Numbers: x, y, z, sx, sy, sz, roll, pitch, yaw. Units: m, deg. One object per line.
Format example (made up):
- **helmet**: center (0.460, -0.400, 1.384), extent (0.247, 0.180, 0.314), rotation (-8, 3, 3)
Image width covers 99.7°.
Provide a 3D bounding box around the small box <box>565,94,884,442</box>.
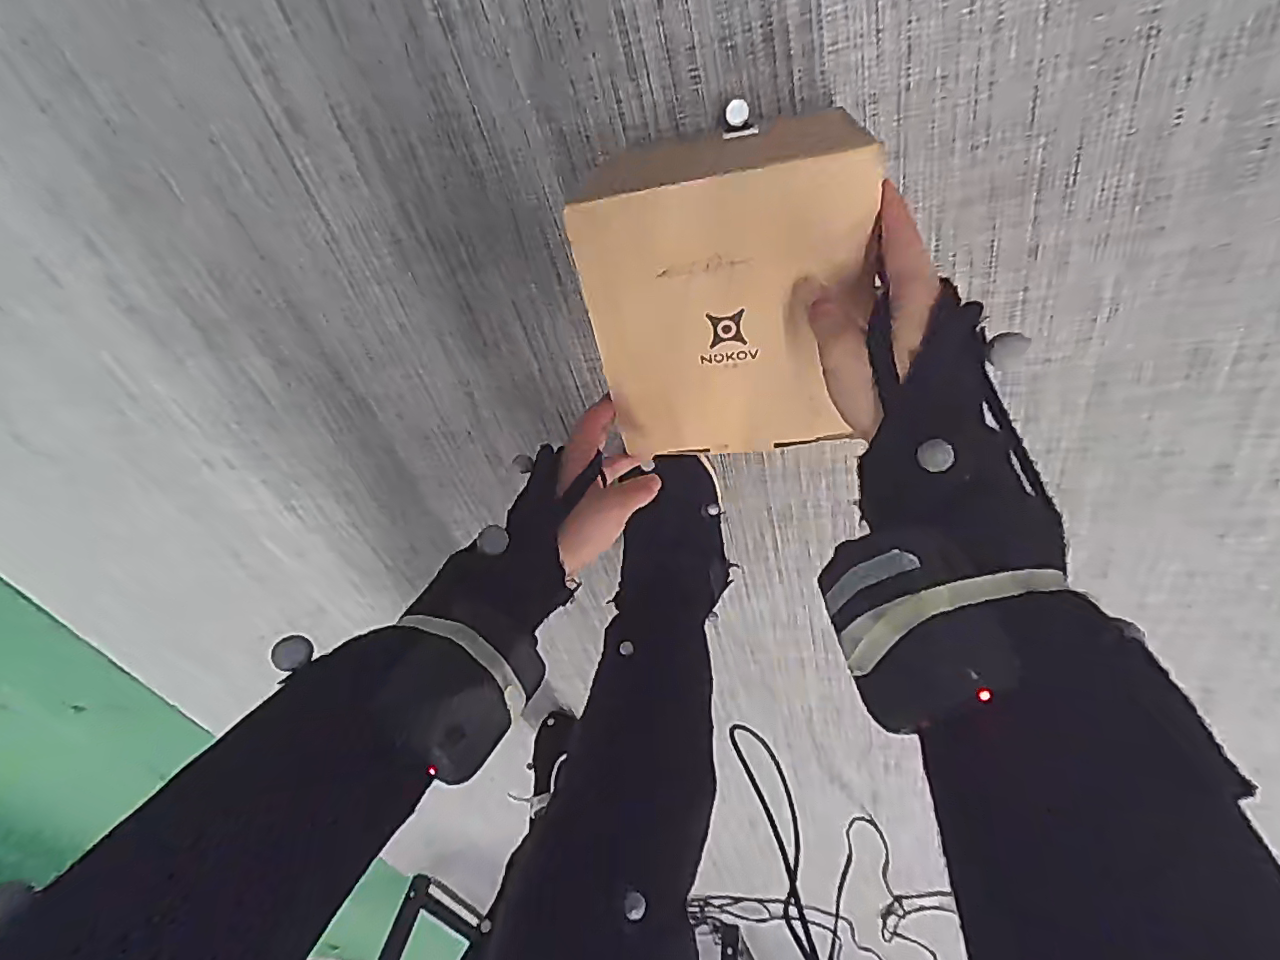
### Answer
- **small box**: center (0.065, -0.149, 0.387), extent (0.168, 0.176, 0.179), rotation (-4, 129, 13)
